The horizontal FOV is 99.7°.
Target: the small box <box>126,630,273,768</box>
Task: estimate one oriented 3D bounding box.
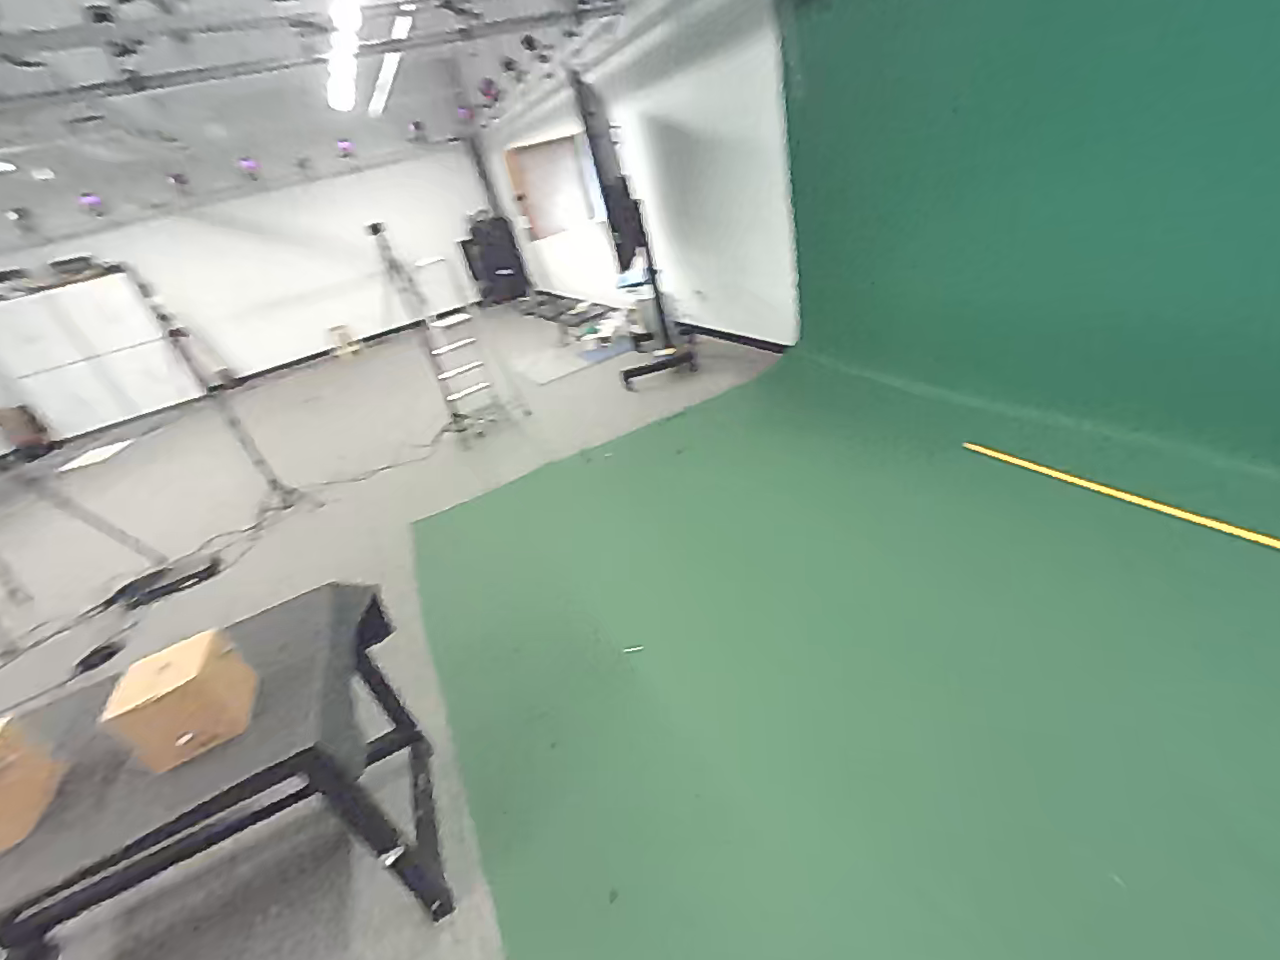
[{"bbox_3d":[-0.921,0.465,1.154,0.168,0.176,0.179,-26,30,-16],"label":"small box"}]
